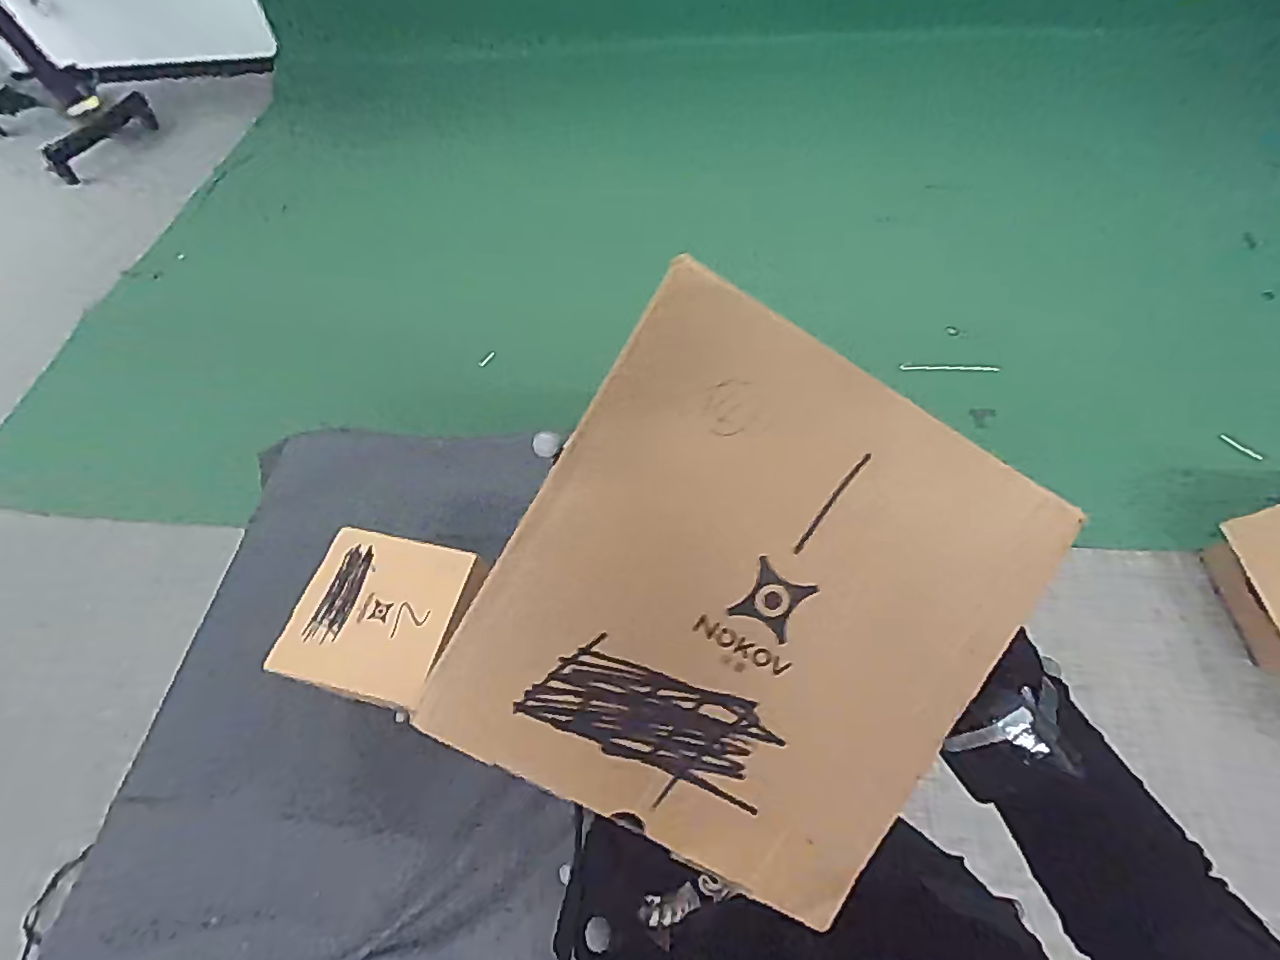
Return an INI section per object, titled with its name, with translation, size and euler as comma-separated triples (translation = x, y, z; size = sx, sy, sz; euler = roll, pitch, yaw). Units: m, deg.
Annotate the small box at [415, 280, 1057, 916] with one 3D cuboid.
[small box]
translation = 0.031, 0.040, 0.266
size = 0.168, 0.176, 0.179
euler = 30, 94, -6
